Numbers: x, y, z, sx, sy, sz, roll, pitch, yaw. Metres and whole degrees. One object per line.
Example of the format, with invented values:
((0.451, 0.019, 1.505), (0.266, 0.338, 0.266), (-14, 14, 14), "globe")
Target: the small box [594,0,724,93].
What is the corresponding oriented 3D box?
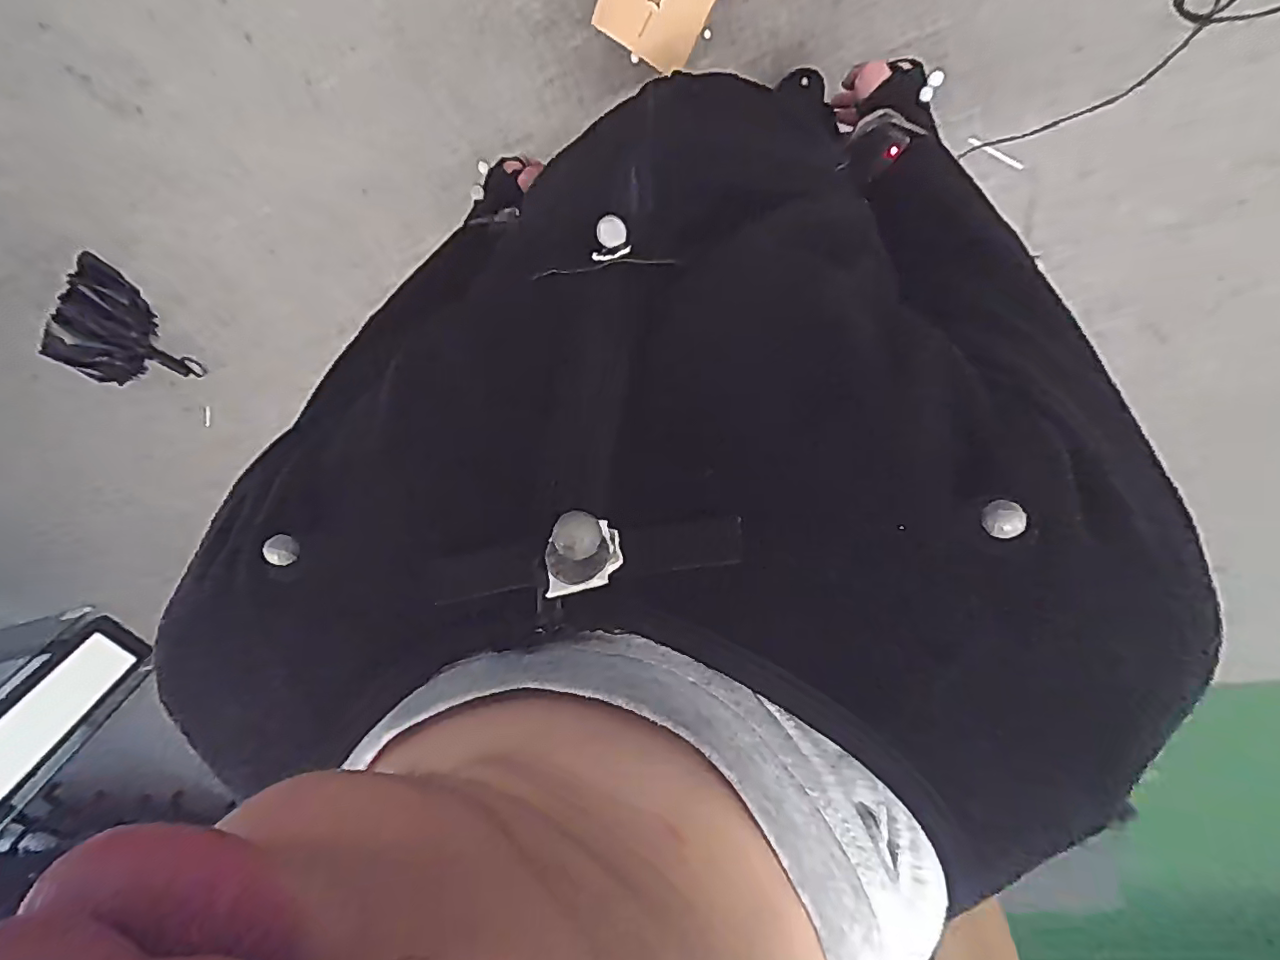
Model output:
((0.041, -0.802, 0.919), (0.168, 0.176, 0.179), (27, 126, -12), "small box")
